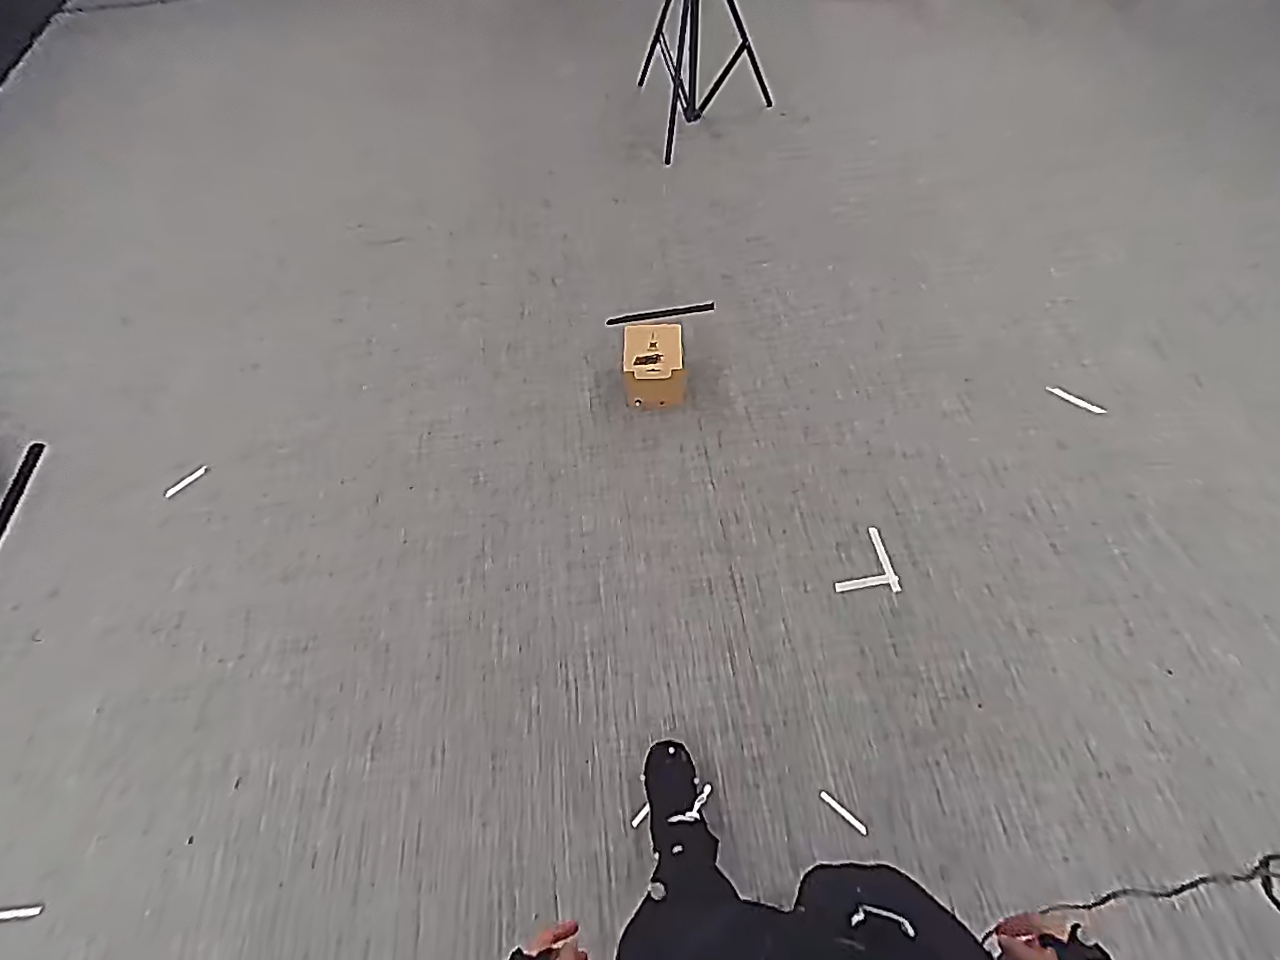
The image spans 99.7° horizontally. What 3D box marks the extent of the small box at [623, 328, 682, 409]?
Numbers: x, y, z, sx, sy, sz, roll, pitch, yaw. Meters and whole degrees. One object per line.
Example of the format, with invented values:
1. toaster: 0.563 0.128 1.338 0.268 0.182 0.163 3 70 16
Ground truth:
1. small box: 0.042 -0.324 1.600 0.168 0.176 0.179 -1 61 3
